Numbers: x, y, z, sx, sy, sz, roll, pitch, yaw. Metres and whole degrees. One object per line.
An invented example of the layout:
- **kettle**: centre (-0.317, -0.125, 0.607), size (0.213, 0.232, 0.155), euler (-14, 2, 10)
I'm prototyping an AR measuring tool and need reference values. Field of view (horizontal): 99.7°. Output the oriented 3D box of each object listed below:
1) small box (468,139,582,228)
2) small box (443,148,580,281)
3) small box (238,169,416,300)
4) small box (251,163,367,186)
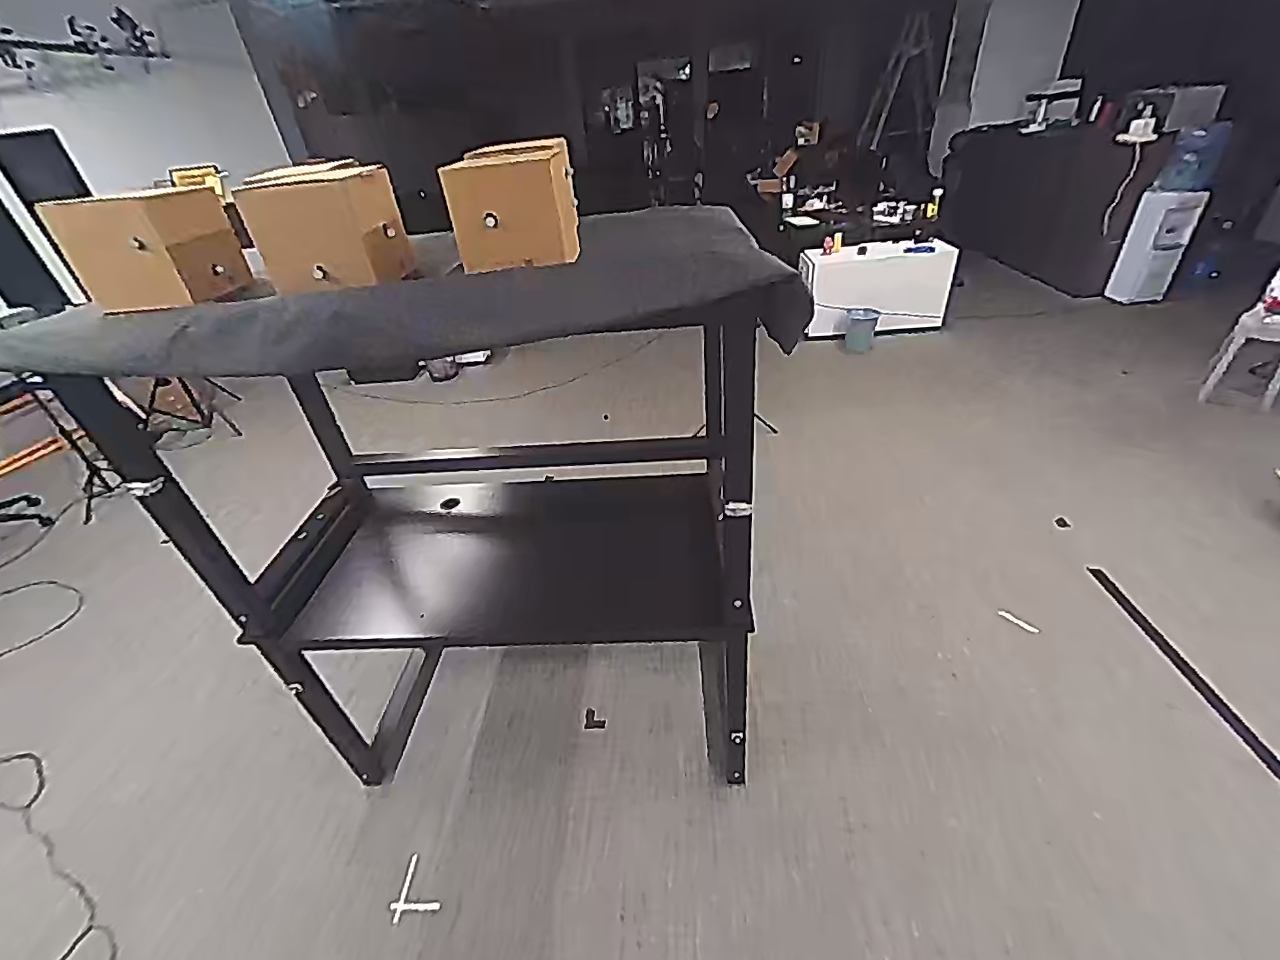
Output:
- **small box**: centre (-0.229, -0.596, 1.123), size (0.179, 0.176, 0.168), euler (-3, 36, 5)
- **small box**: centre (-0.196, -0.432, 0.888), size (0.168, 0.176, 0.179), euler (-4, 34, 3)
- **small box**: centre (-0.505, -0.412, 0.908), size (0.179, 0.176, 0.168), euler (-3, 34, 3)
- **small box**: centre (-0.661, -0.559, 1.141), size (0.168, 0.176, 0.179), euler (-8, 35, 0)
